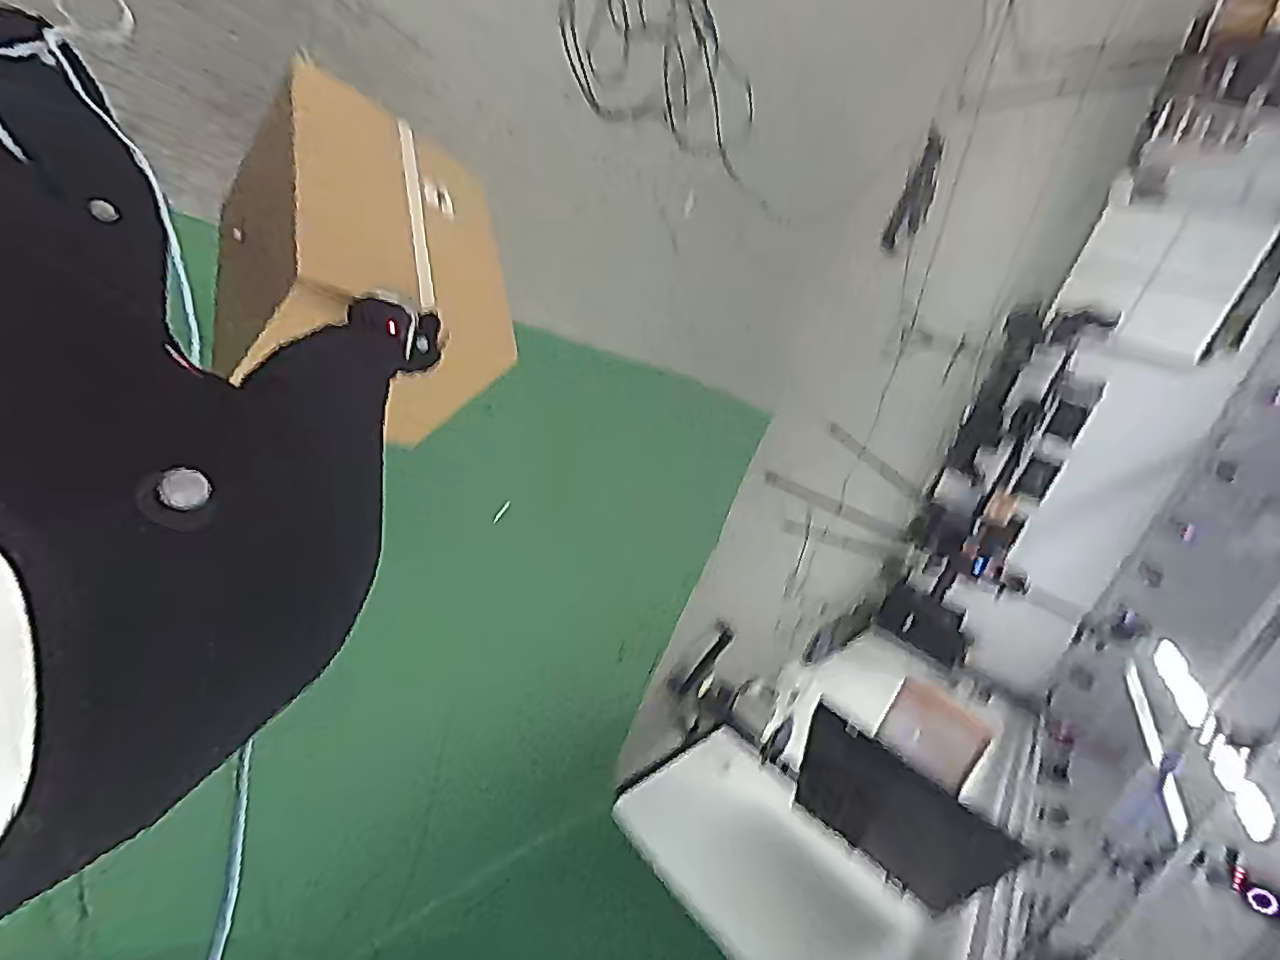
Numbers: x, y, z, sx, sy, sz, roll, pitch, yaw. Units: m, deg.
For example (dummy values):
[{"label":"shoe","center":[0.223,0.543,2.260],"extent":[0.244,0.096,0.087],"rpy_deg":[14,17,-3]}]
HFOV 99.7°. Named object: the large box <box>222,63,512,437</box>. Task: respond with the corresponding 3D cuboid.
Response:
[{"label":"large box","center":[-0.457,-0.330,0.888],"extent":[0.320,0.408,0.320],"rpy_deg":[-29,156,32]}]
